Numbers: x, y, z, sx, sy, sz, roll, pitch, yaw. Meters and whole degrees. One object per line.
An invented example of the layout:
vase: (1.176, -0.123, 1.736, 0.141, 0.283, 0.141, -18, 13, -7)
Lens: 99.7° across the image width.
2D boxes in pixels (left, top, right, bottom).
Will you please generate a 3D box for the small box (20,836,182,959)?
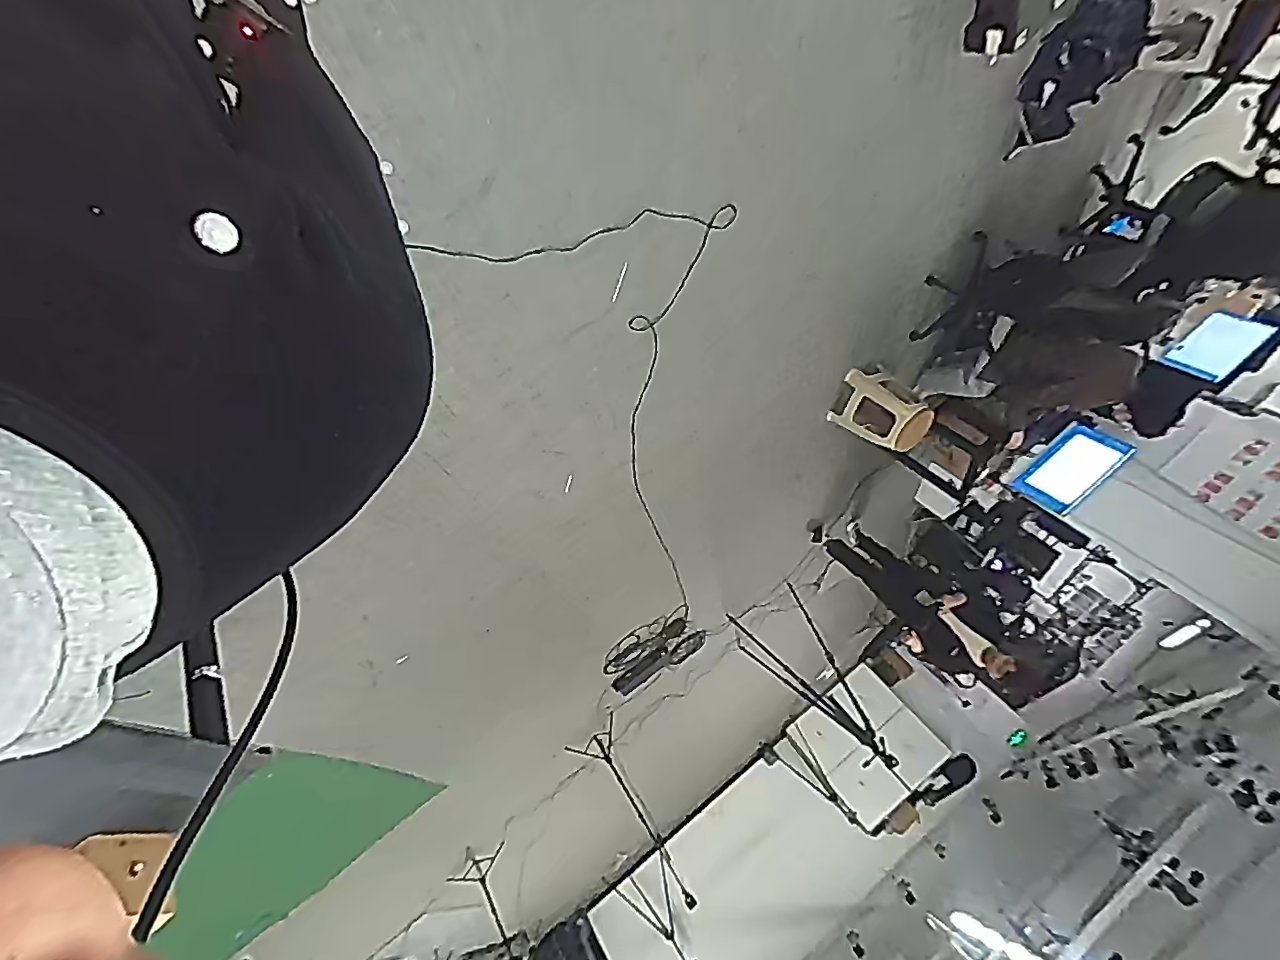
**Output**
small box: (-1.075, 0.844, 1.078, 0.179, 0.176, 0.168, -41, 144, -6)
